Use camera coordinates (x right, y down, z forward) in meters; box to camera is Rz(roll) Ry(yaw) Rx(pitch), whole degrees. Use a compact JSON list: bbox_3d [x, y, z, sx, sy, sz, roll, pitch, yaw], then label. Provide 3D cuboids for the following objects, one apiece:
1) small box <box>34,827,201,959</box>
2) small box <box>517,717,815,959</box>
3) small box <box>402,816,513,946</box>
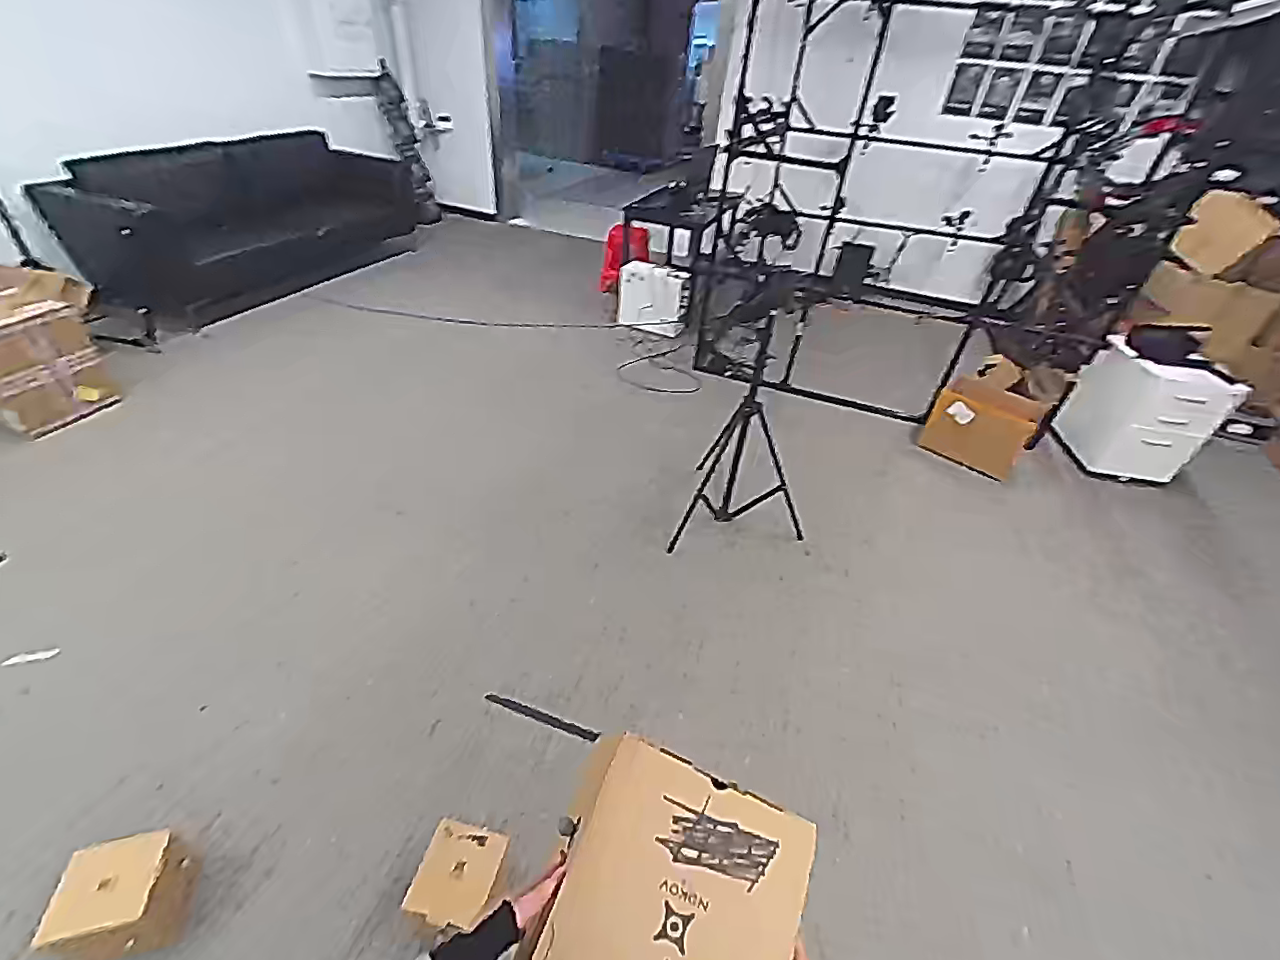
[{"bbox_3d":[-1.075,0.871,1.136,0.179,0.176,0.168,-7,38,-15],"label":"small box"},{"bbox_3d":[0.010,0.315,0.431,0.168,0.176,0.179,26,60,2],"label":"small box"},{"bbox_3d":[-0.392,0.891,1.200,0.168,0.176,0.179,12,39,7],"label":"small box"}]
